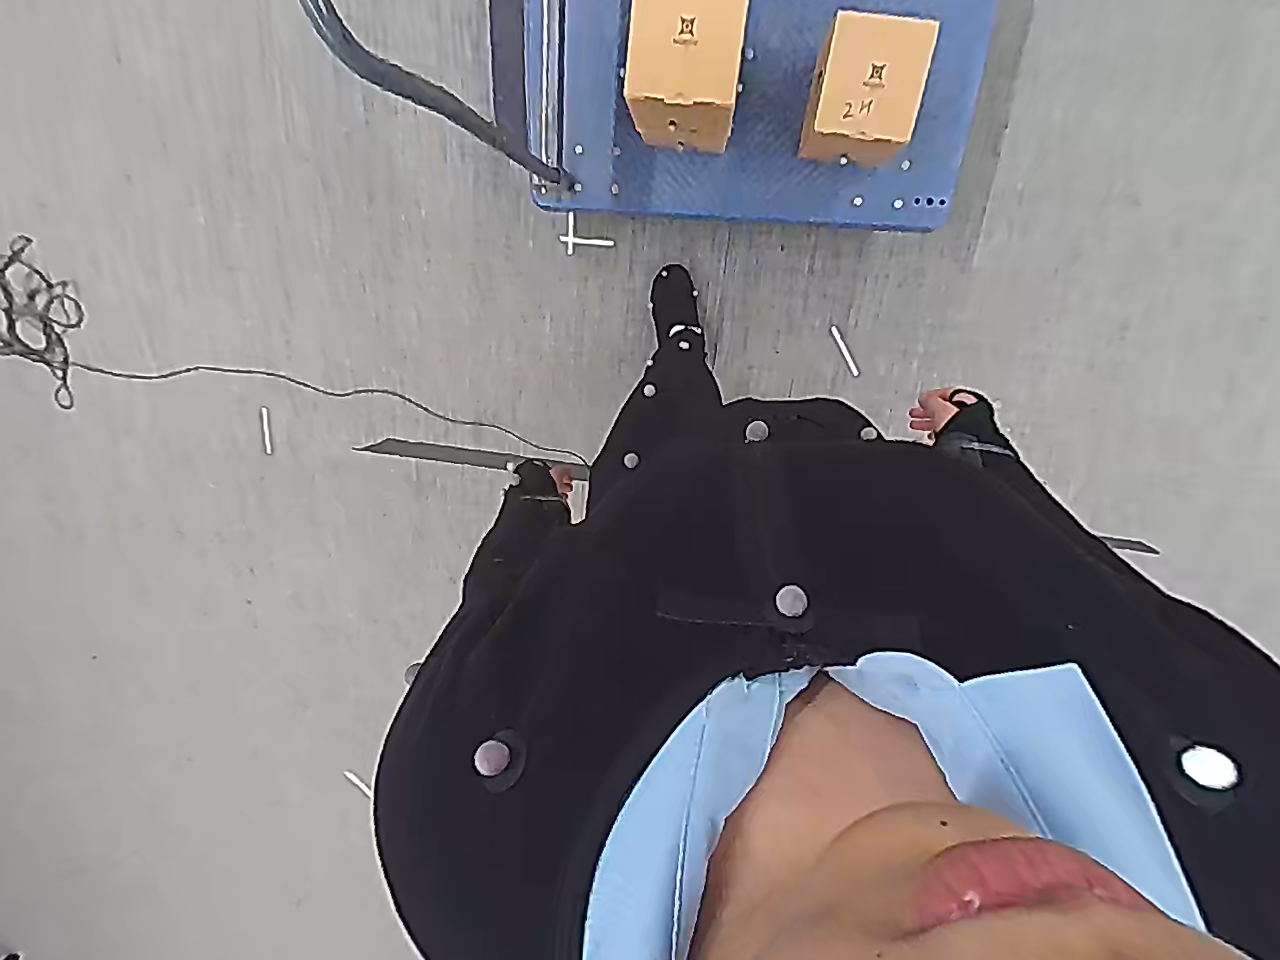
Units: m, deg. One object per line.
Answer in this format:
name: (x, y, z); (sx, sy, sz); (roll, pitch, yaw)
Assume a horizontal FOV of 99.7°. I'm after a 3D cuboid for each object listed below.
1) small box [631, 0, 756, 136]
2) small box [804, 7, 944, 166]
small box: (0.083, -0.665, 0.841); (0.168, 0.176, 0.179); (7, 109, 4)
small box: (0.405, -0.691, 0.969); (0.168, 0.176, 0.179); (10, 108, 4)
